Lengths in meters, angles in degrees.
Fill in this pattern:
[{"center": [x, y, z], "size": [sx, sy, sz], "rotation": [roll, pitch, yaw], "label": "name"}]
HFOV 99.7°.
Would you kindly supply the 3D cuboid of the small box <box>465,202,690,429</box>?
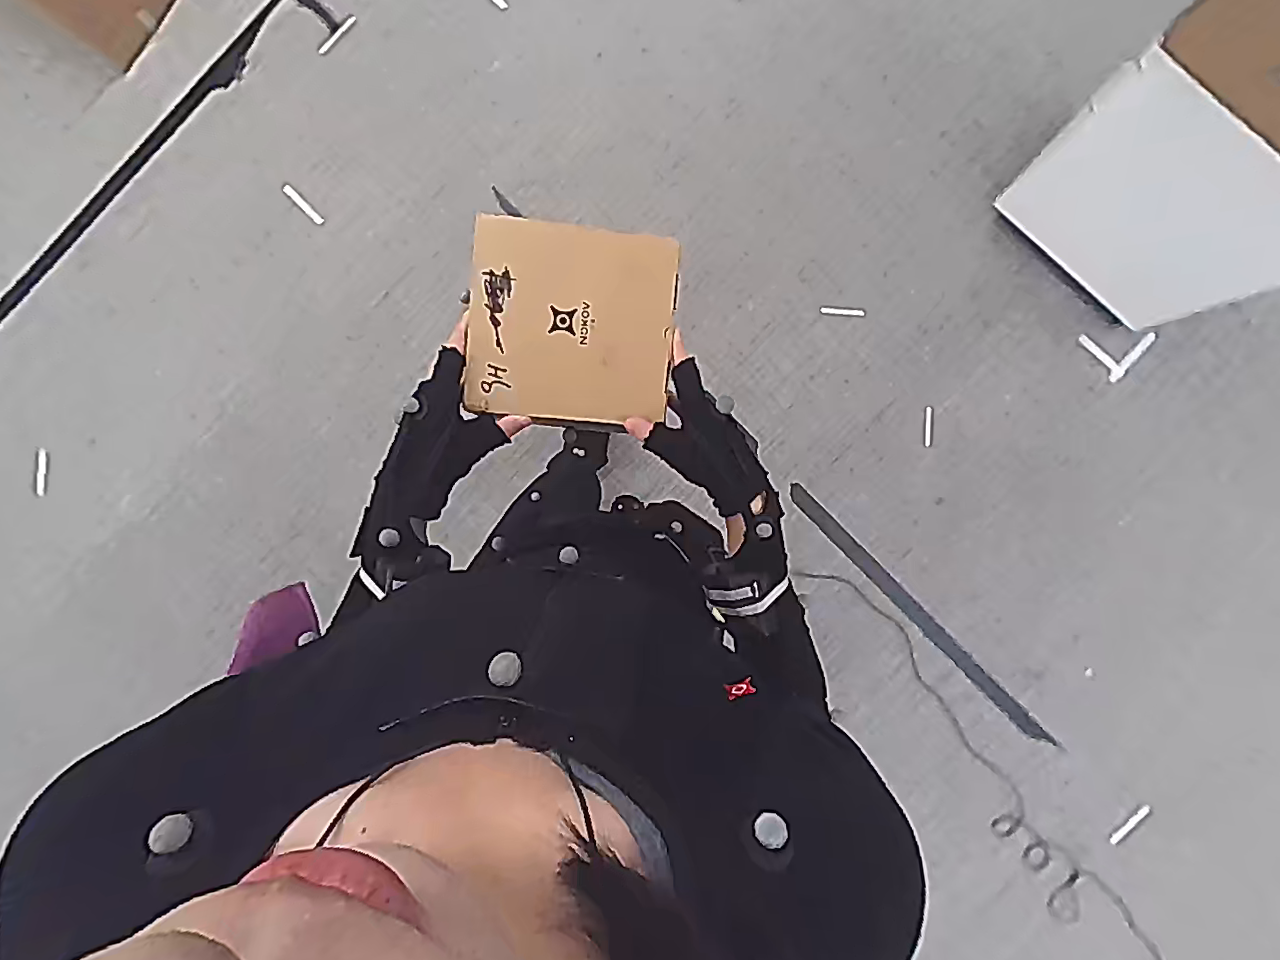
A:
[{"center": [-0.061, -0.142, 0.535], "size": [0.179, 0.176, 0.168], "rotation": [6, 92, -7], "label": "small box"}]
